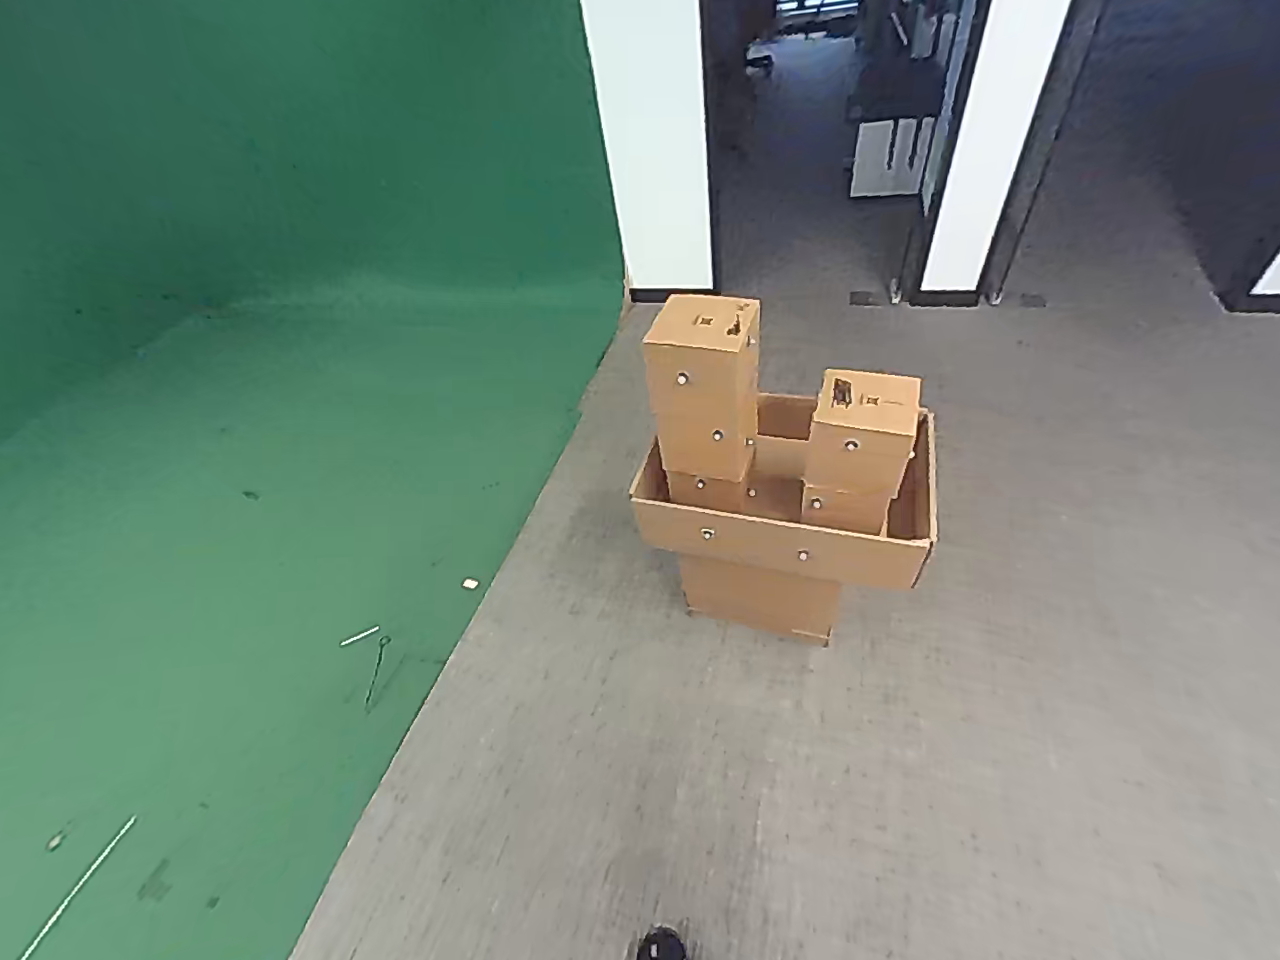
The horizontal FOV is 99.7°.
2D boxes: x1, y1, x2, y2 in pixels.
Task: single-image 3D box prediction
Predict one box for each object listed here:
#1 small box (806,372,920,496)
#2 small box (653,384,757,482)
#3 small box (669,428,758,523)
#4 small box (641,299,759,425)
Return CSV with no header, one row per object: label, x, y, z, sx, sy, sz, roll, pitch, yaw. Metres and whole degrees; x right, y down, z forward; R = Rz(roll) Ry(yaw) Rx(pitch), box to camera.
small box,0.431,-0.088,1.058,0.179,0.176,0.168,11,50,20
small box,0.144,-0.116,1.150,0.179,0.176,0.168,10,51,19
small box,0.175,-0.018,1.277,0.179,0.176,0.168,10,51,19
small box,0.121,-0.223,1.027,0.179,0.176,0.168,10,51,20
